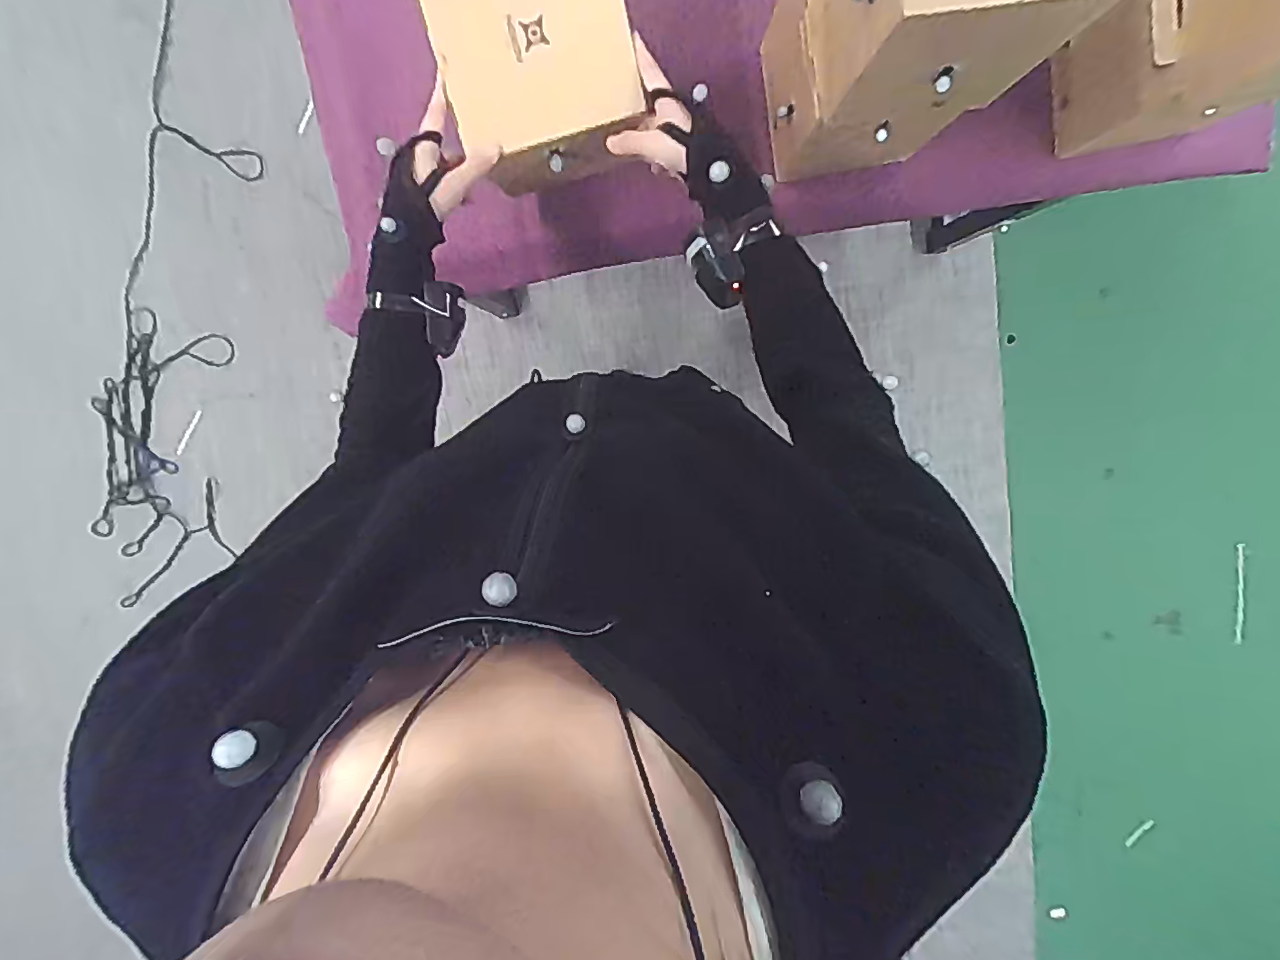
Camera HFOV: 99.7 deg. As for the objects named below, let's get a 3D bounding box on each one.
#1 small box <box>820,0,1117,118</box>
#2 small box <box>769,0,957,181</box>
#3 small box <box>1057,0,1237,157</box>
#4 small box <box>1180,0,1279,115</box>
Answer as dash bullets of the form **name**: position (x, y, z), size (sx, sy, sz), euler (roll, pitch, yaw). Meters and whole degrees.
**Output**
- **small box**: position (0.259, -0.436, 0.455), size (0.168, 0.176, 0.179), euler (-6, 99, 1)
- **small box**: position (0.252, -0.466, 0.616), size (0.179, 0.176, 0.168), euler (-9, 99, 1)
- **small box**: position (0.610, -0.495, 0.610), size (0.179, 0.176, 0.168), euler (-11, 100, 2)
- **small box**: position (0.611, -0.450, 0.451), size (0.168, 0.176, 0.179), euler (-8, 99, 2)
